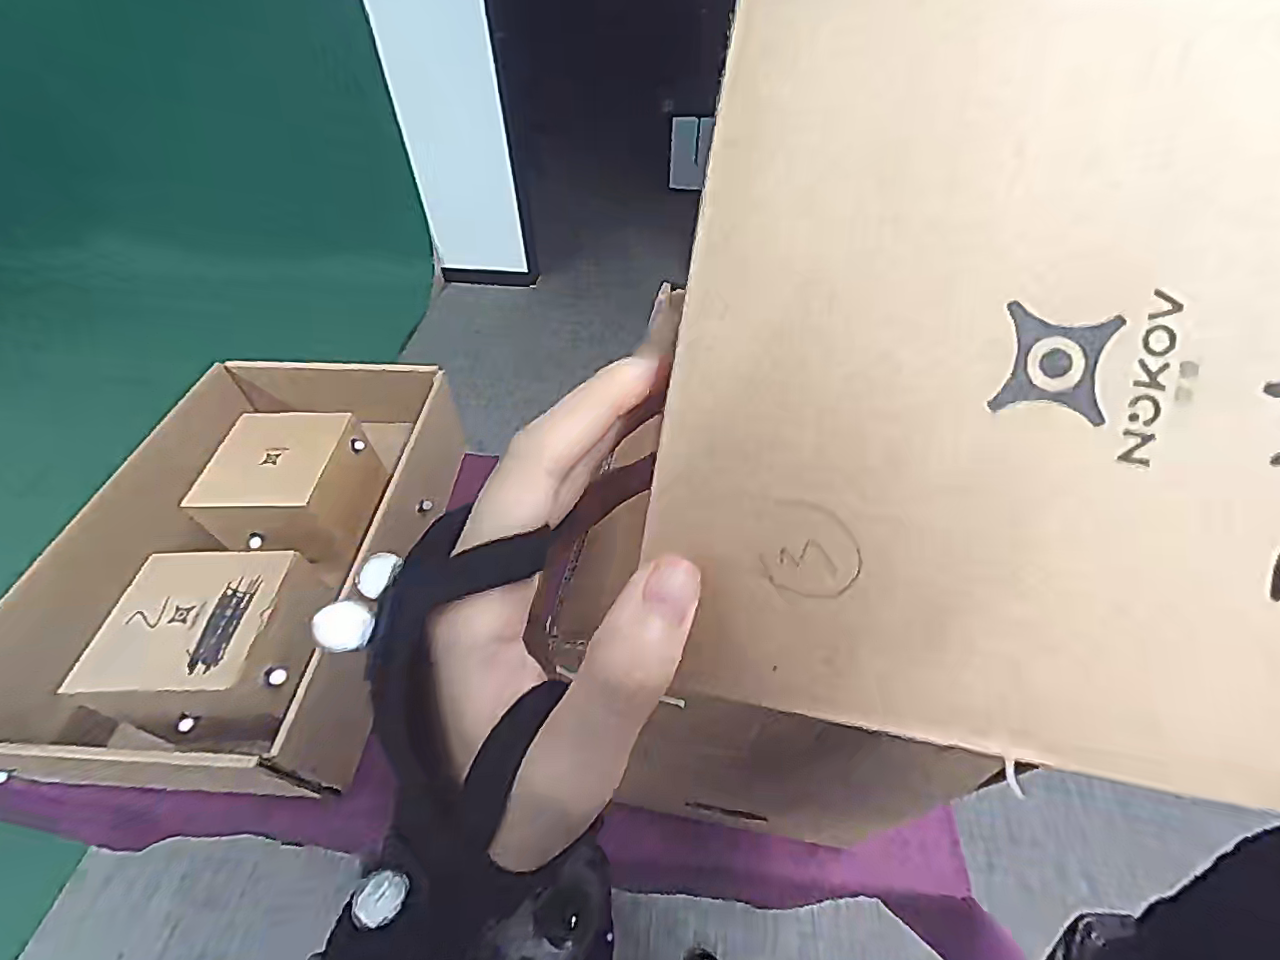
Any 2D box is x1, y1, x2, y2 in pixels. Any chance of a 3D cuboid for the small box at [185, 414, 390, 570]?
[{"bbox_3d":[-0.501,0.022,0.805,0.168,0.176,0.179,-1,50,1],"label":"small box"}]
